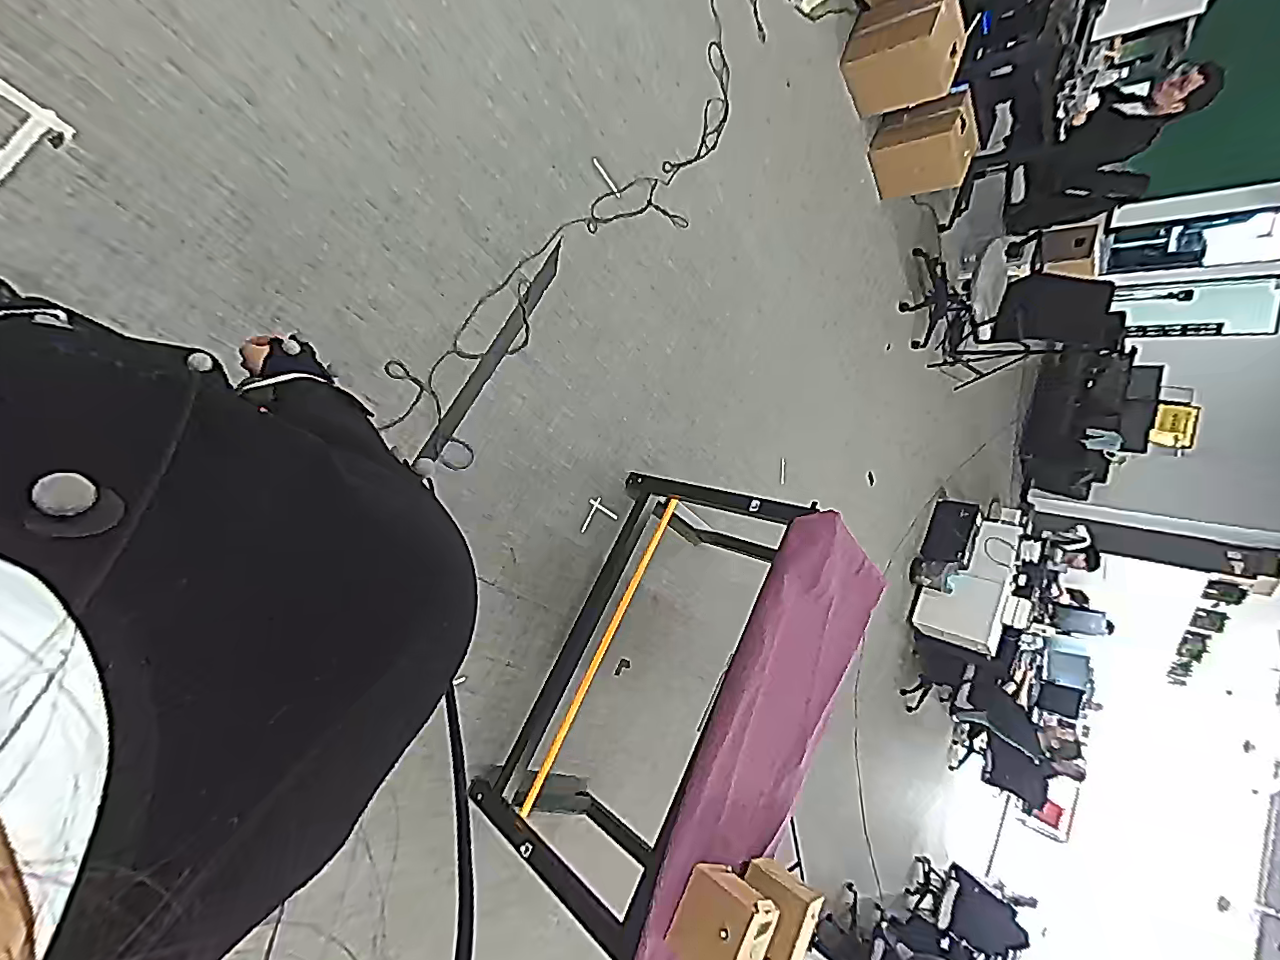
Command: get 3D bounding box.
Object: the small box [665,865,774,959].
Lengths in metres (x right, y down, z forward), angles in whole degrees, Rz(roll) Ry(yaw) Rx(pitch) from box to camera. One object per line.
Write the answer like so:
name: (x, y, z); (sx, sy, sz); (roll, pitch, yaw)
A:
small box: (0.187, 1.054, 1.284); (0.168, 0.176, 0.179); (44, 68, -43)
